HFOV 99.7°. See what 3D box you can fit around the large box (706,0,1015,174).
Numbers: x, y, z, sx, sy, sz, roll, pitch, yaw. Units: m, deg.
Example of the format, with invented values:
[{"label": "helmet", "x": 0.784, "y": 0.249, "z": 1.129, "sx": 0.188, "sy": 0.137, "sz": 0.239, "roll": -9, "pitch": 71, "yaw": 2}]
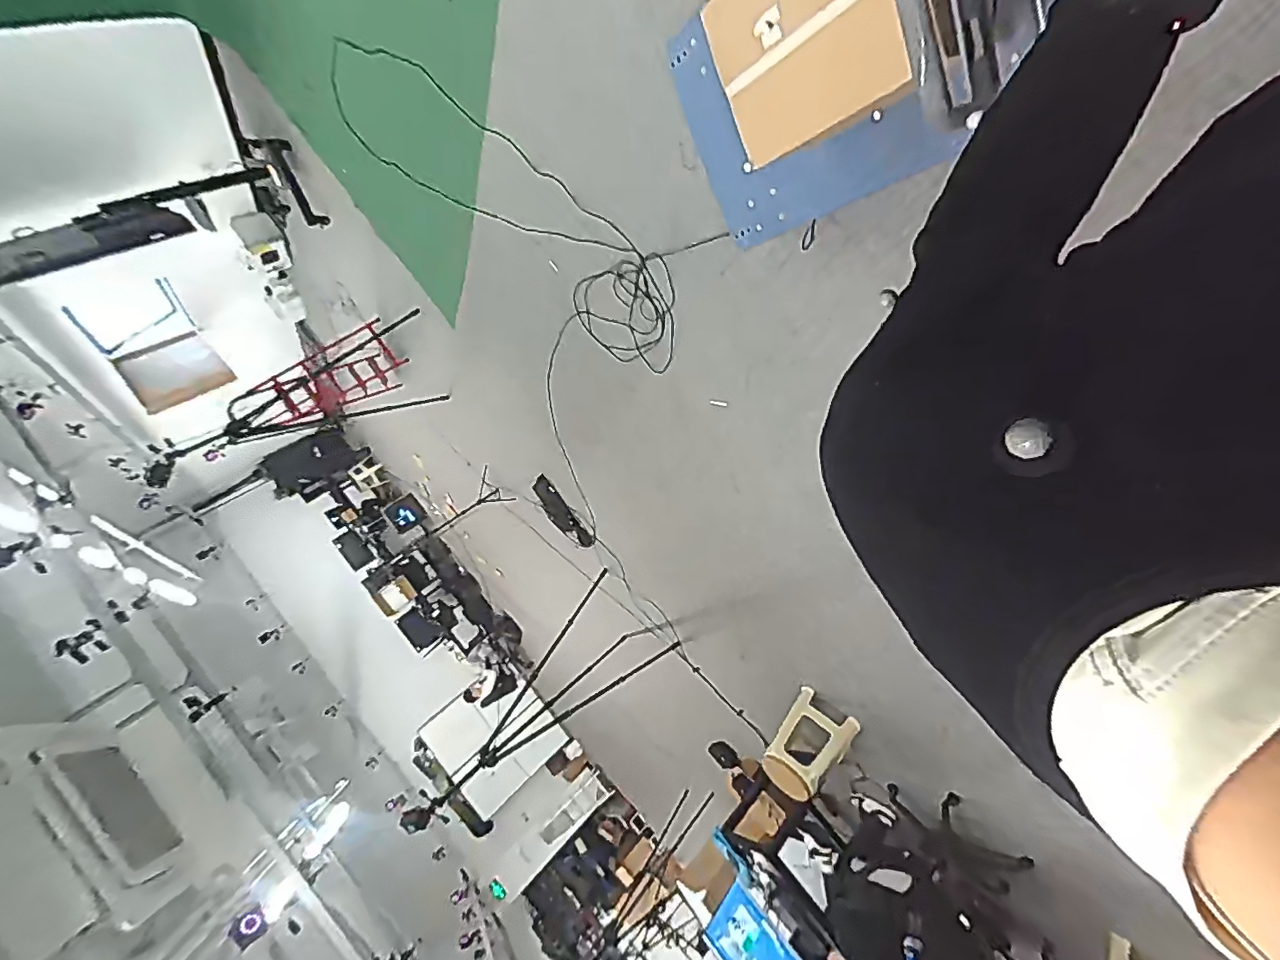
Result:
[{"label": "large box", "x": 0.412, "y": -0.868, "z": 1.033, "sx": 0.408, "sy": 0.320, "sz": 0.320, "roll": 2, "pitch": 122, "yaw": 54}]
